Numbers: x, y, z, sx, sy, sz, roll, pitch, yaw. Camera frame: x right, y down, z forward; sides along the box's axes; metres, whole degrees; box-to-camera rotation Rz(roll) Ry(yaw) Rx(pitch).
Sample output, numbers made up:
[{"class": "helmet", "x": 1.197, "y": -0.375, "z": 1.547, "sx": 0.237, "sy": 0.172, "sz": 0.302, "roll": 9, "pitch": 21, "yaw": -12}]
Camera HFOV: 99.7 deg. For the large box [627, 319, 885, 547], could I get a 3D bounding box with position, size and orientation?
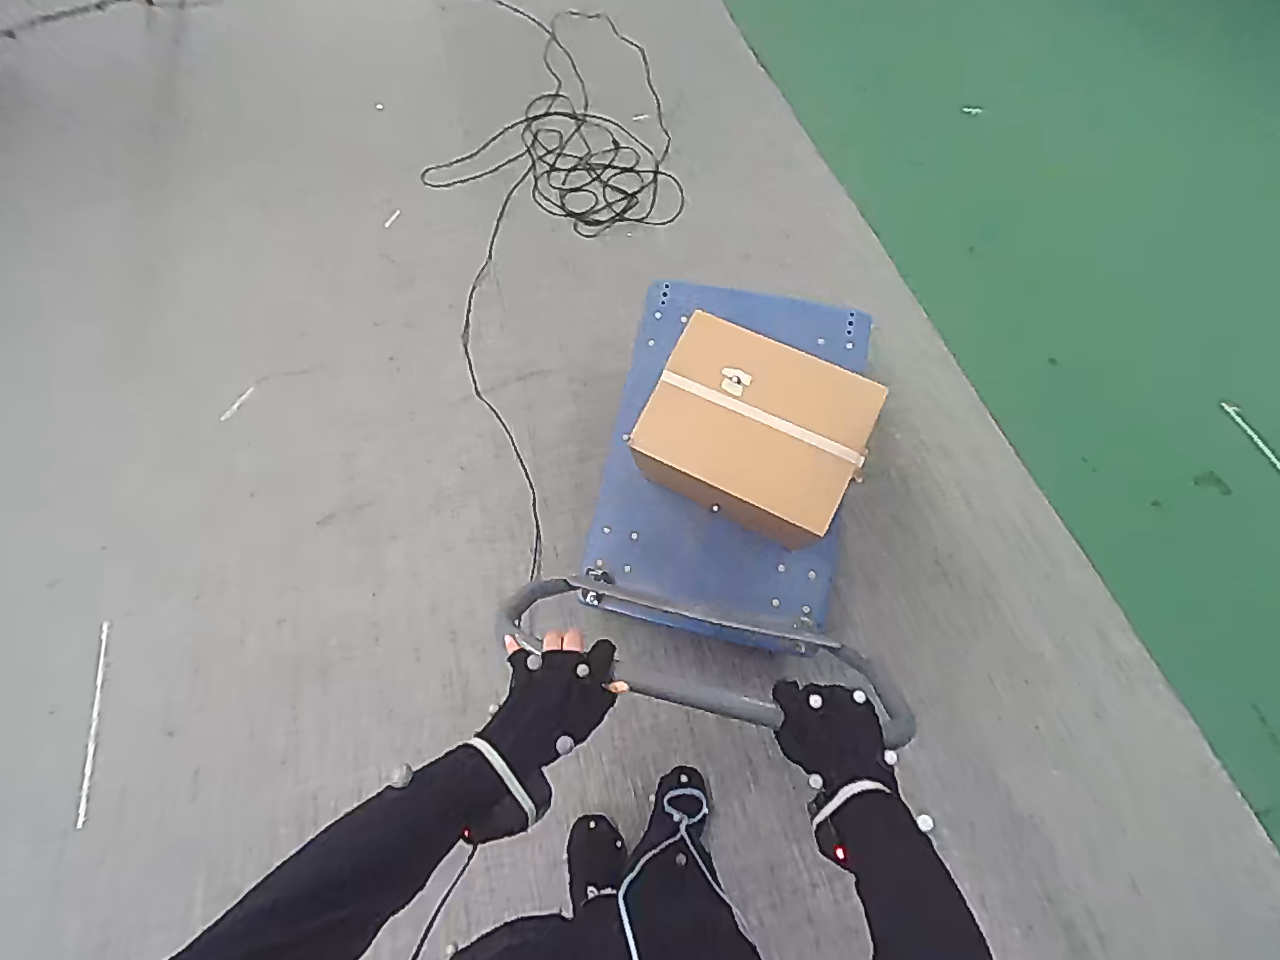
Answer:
[{"class": "large box", "x": 0.236, "y": -0.080, "z": 1.169, "sx": 0.408, "sy": 0.320, "sz": 0.320, "roll": 26, "pitch": 82, "yaw": 11}]
